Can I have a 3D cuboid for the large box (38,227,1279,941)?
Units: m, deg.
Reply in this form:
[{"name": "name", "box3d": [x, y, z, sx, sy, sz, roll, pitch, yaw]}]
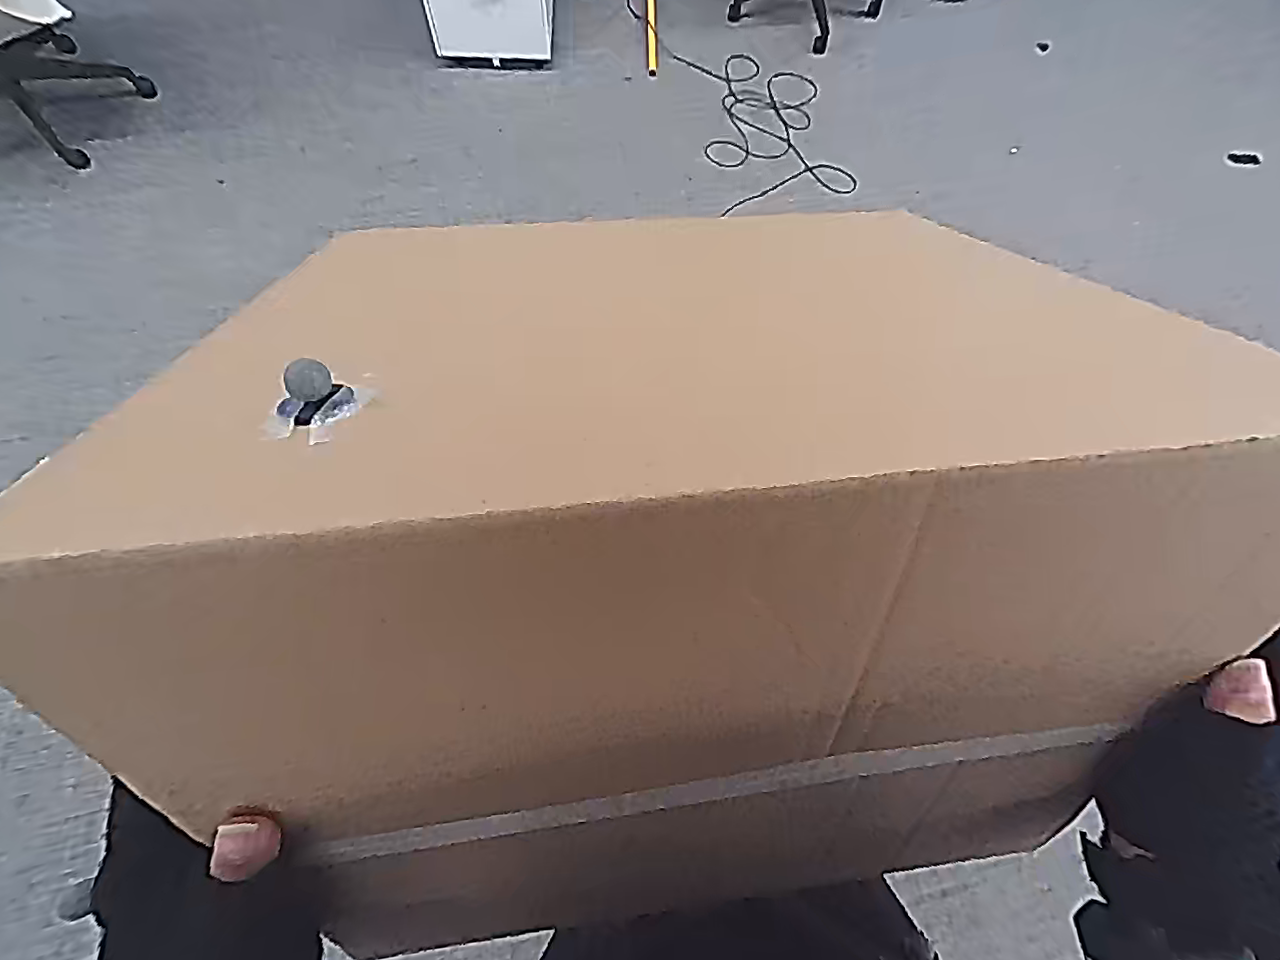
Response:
[{"name": "large box", "box3d": [0.025, 0.035, 0.358, 0.408, 0.320, 0.320, -5, 37, -5]}]
